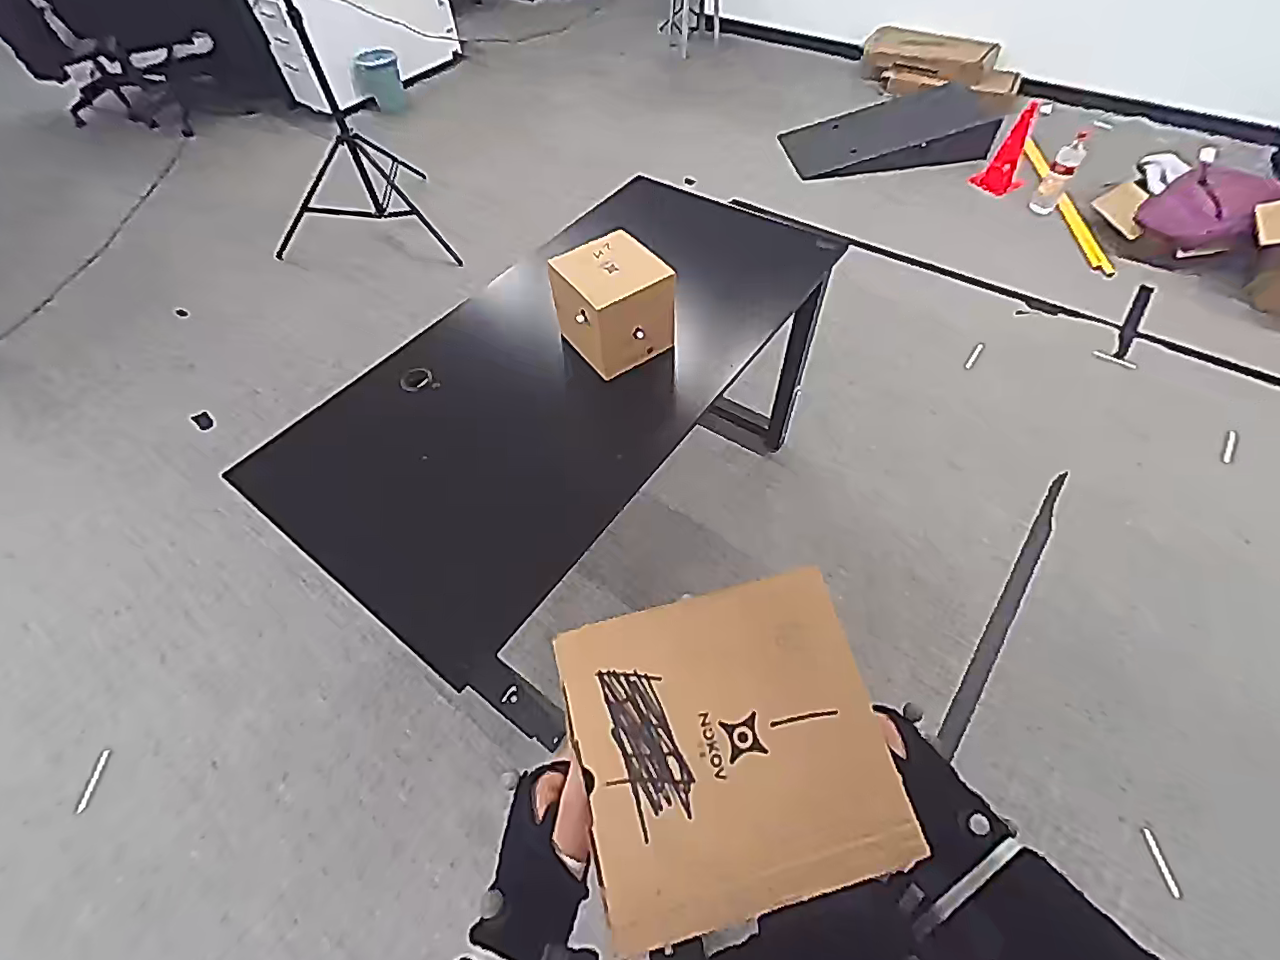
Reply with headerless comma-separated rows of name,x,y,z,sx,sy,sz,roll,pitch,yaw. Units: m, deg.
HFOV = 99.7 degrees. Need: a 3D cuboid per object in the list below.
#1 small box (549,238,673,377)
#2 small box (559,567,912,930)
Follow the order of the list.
small box,-0.049,-0.321,1.034,0.168,0.176,0.179,-31,59,-17
small box,0.052,0.180,0.397,0.179,0.176,0.168,-14,68,-5
